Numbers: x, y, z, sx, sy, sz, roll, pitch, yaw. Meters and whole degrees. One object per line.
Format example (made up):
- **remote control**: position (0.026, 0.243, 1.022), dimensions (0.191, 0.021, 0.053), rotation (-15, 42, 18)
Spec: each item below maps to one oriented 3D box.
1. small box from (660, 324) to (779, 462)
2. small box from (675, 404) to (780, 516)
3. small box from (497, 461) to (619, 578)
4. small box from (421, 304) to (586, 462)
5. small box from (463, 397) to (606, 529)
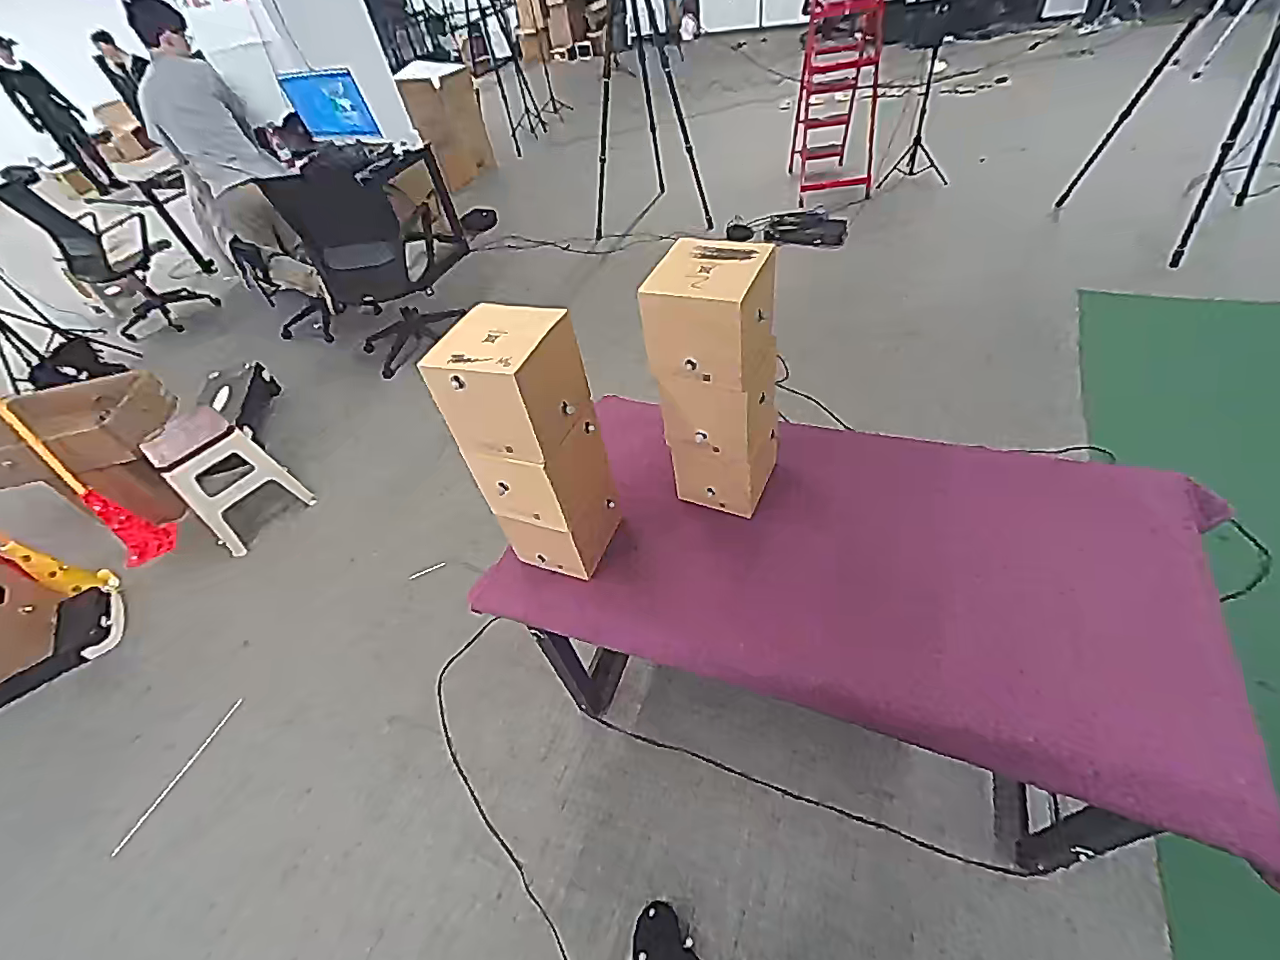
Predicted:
- **small box**: position (0.151, -0.163, 1.009), dimensions (0.168, 0.176, 0.179), rotation (14, 53, 23)
- **small box**: position (0.183, -0.057, 1.130), dimensions (0.168, 0.176, 0.179), rotation (16, 53, 24)
- **small box**: position (-0.152, 0.066, 1.086), dimensions (0.168, 0.176, 0.179), rotation (11, 51, 21)
- **small box**: position (-0.198, -0.154, 0.849), dimensions (0.168, 0.176, 0.179), rotation (9, 48, 21)
- **small box**: position (-0.174, -0.038, 0.963), dimensions (0.168, 0.176, 0.179), rotation (12, 49, 22)
